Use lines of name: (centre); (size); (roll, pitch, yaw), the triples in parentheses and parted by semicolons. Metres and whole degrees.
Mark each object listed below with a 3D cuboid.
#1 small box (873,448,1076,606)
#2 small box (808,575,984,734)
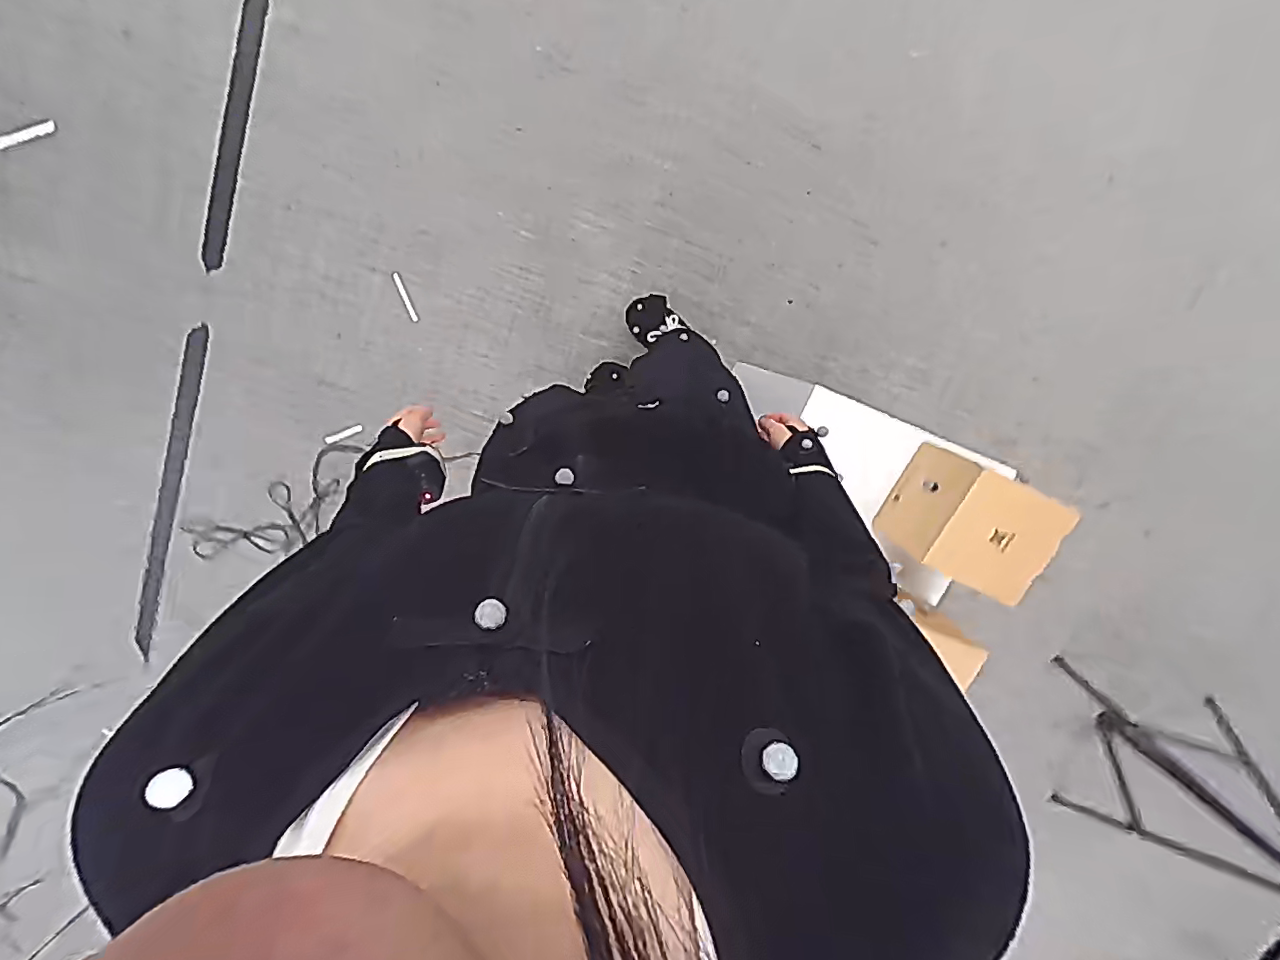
small box: (0.509, 0.063, 0.854); (0.179, 0.176, 0.168); (24, 104, -10)
small box: (0.414, 0.283, 0.911); (0.179, 0.176, 0.168); (22, 104, -9)
